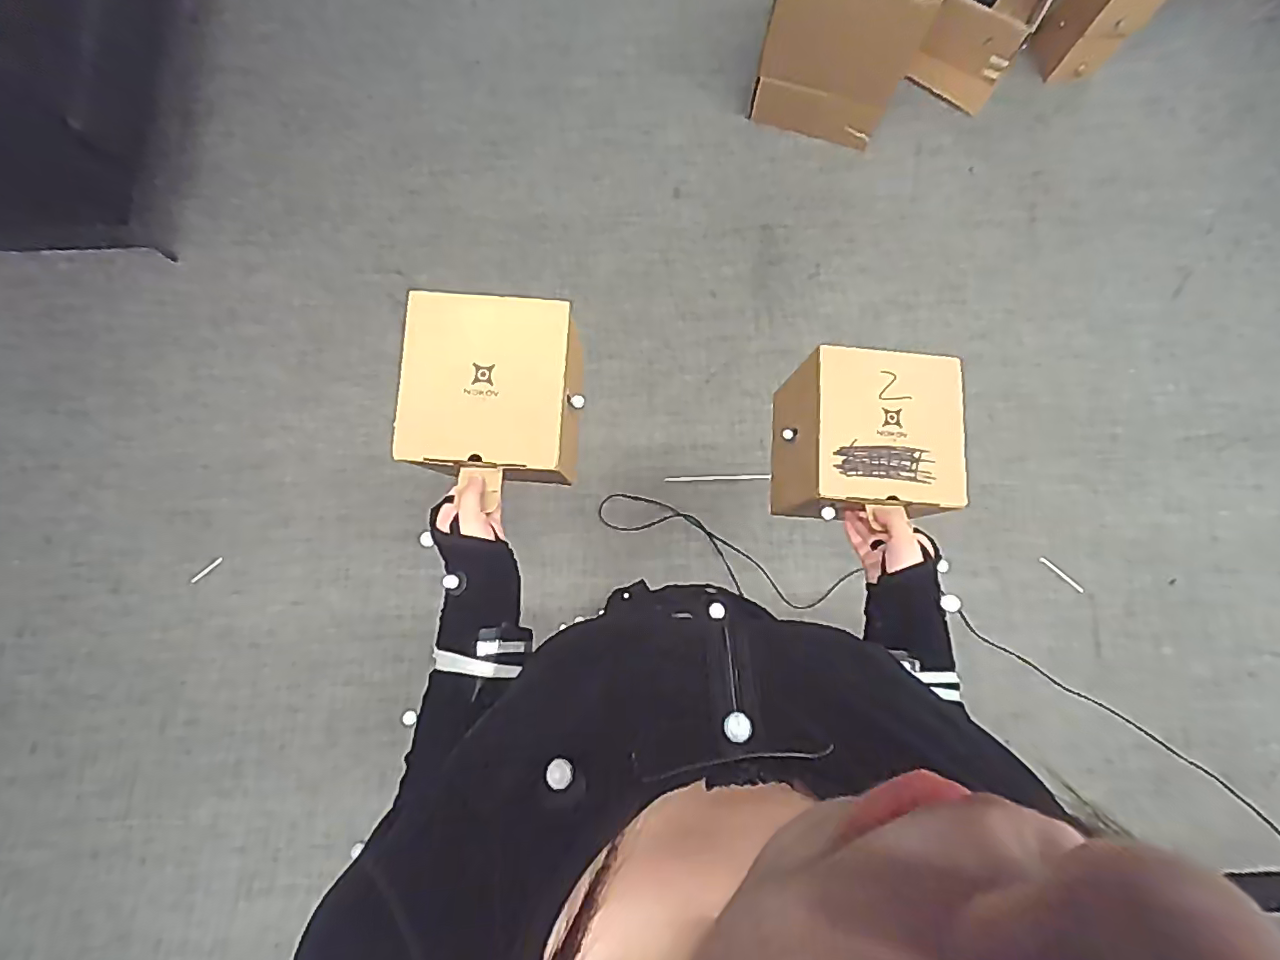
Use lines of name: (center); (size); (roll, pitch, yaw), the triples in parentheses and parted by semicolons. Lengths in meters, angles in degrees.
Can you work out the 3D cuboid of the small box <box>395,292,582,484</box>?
small box: (-0.158, -0.093, 0.622); (0.168, 0.176, 0.179); (4, 86, -1)
